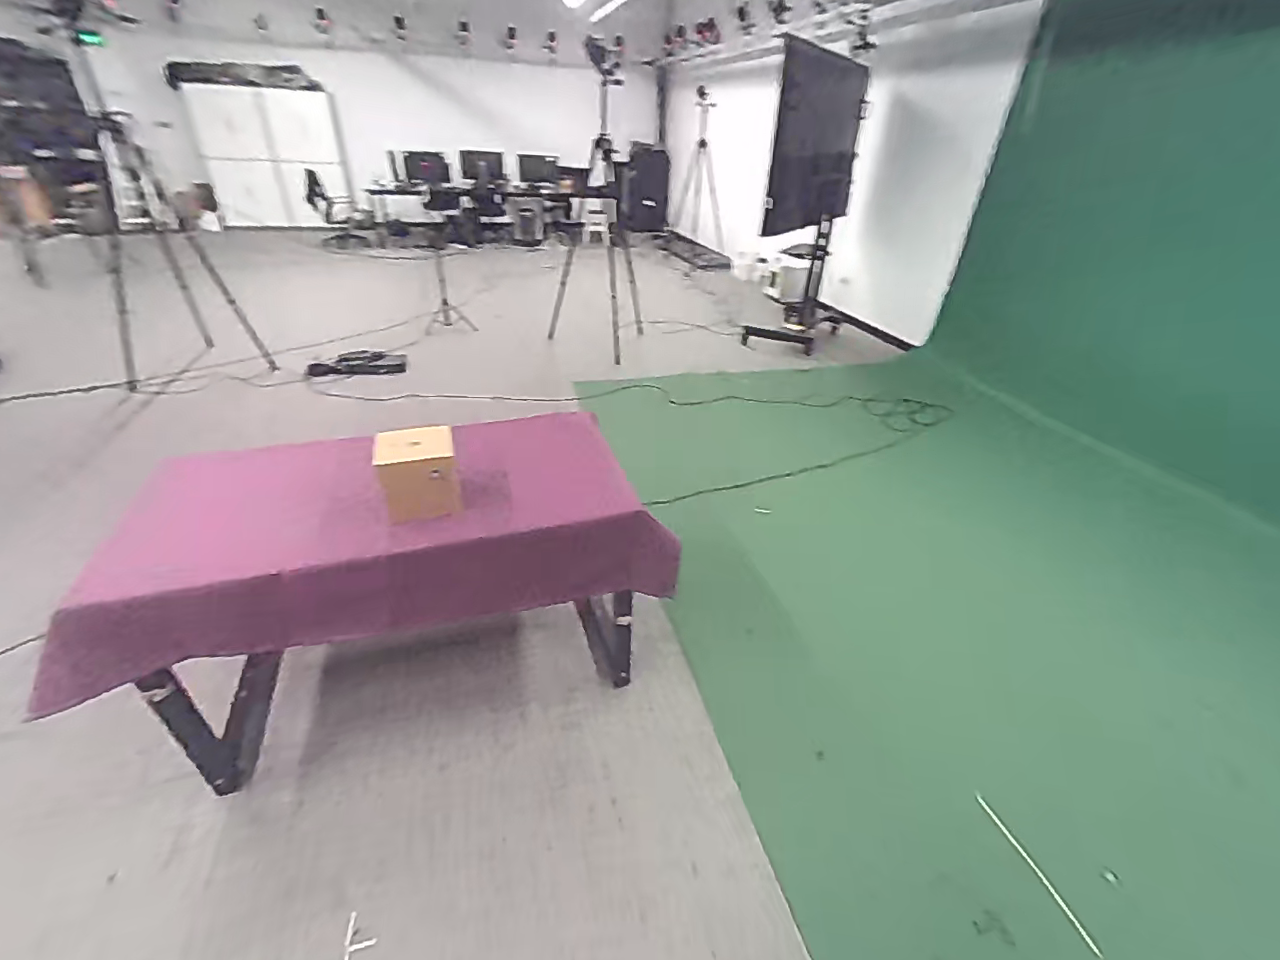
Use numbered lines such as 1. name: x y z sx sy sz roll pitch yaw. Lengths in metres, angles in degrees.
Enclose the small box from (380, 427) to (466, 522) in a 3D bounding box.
1. small box: -0.536 -0.015 1.355 0.179 0.176 0.168 -9 34 -17
